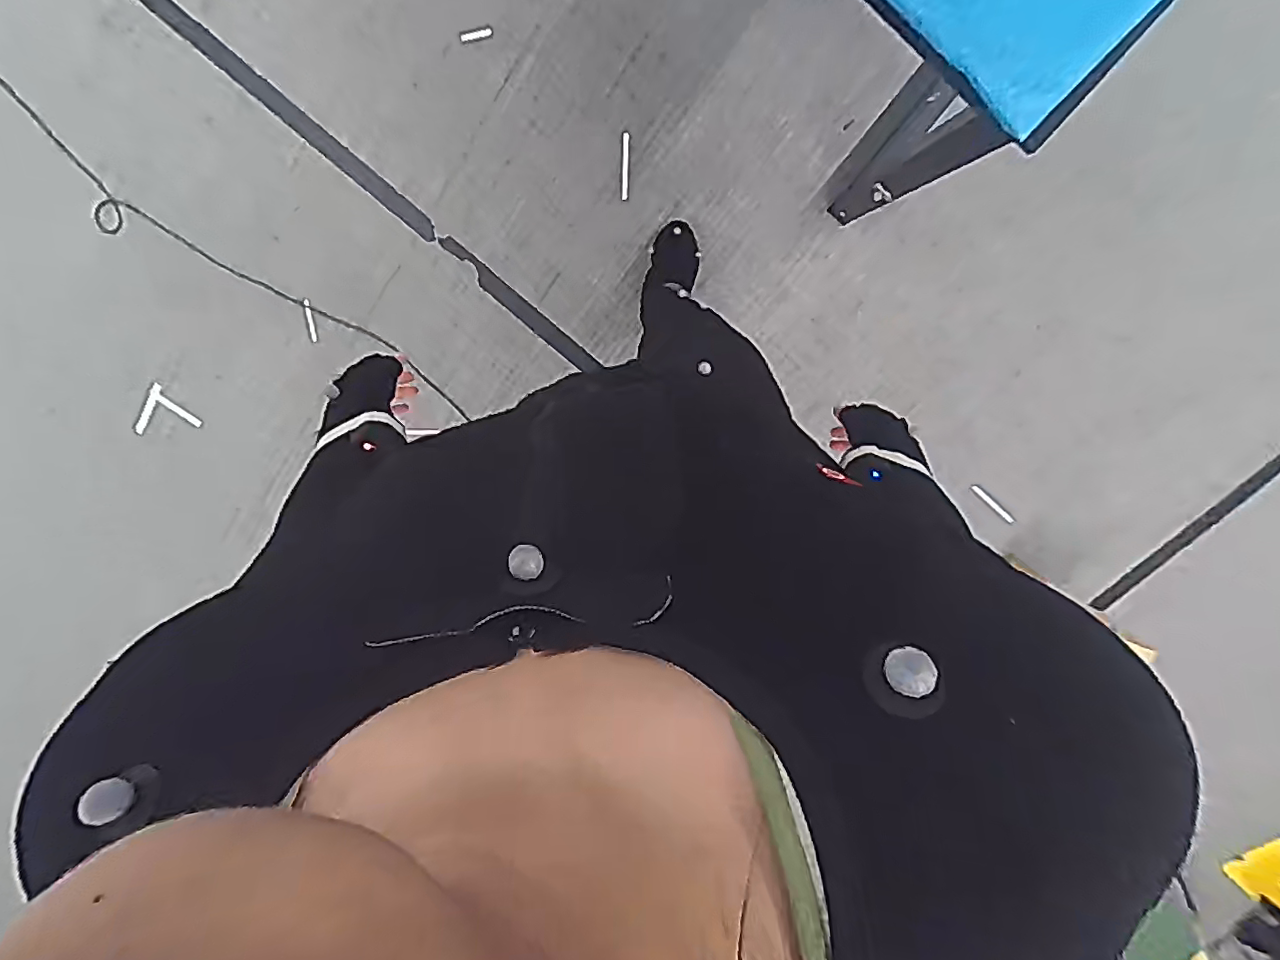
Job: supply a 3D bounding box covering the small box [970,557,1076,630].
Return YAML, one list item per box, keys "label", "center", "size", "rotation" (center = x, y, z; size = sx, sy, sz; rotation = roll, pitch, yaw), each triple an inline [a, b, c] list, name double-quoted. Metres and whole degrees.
- label: "small box"
  center: [1.027, 0.329, 1.433]
  size: [0.179, 0.176, 0.168]
  rotation: [37, 108, -9]

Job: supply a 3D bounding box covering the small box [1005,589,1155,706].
- label: "small box"
  center: [1.025, 0.386, 1.278]
  size: [0.179, 0.176, 0.168]
  rotation: [25, 108, -2]
